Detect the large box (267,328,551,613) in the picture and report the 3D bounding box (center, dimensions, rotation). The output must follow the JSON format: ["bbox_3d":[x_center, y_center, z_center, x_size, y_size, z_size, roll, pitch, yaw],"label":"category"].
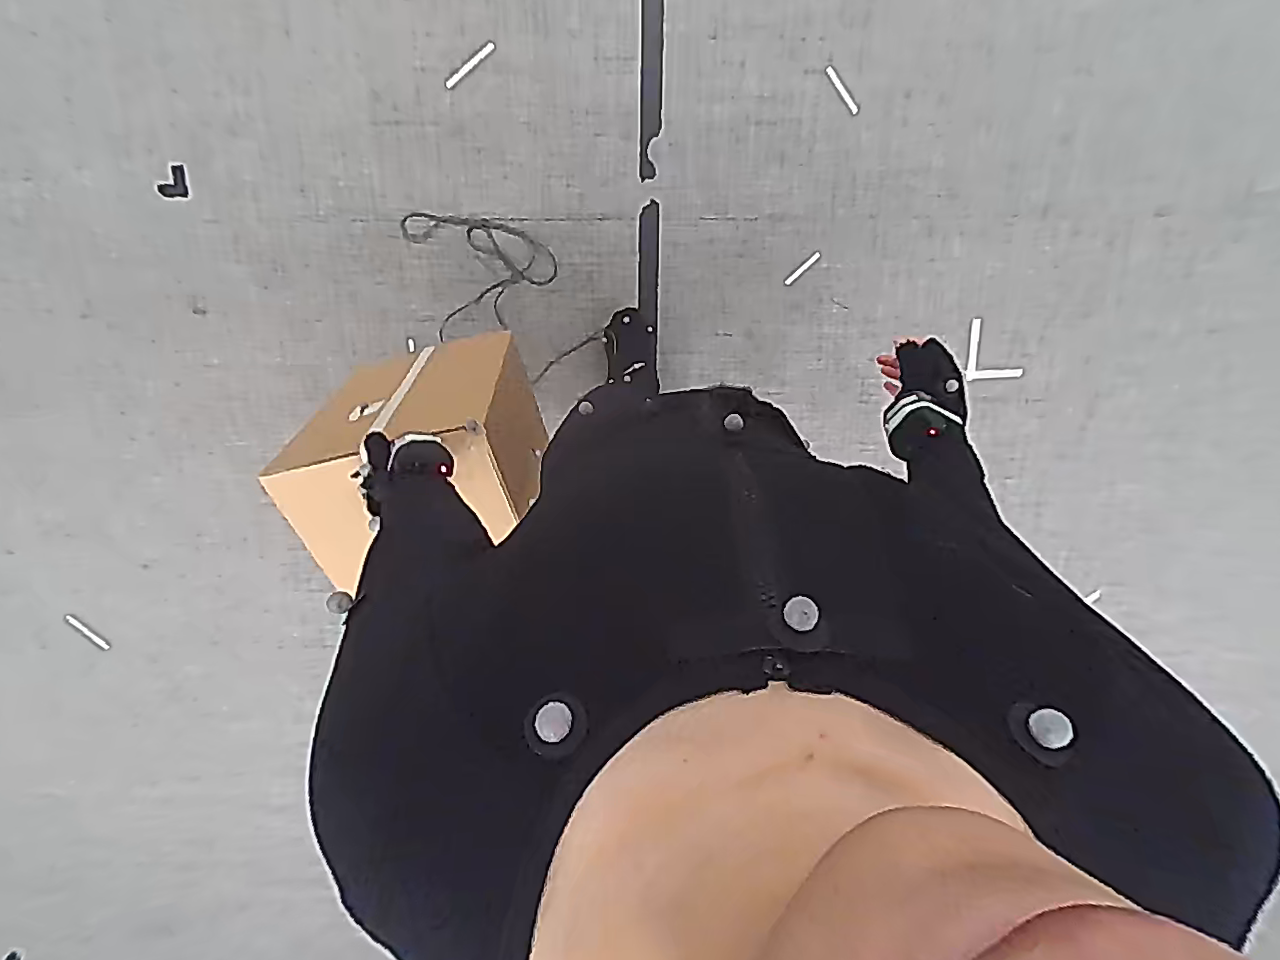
[{"bbox_3d":[-0.354,-0.034,0.975,0.320,0.408,0.320,-13,124,2],"label":"large box"}]
